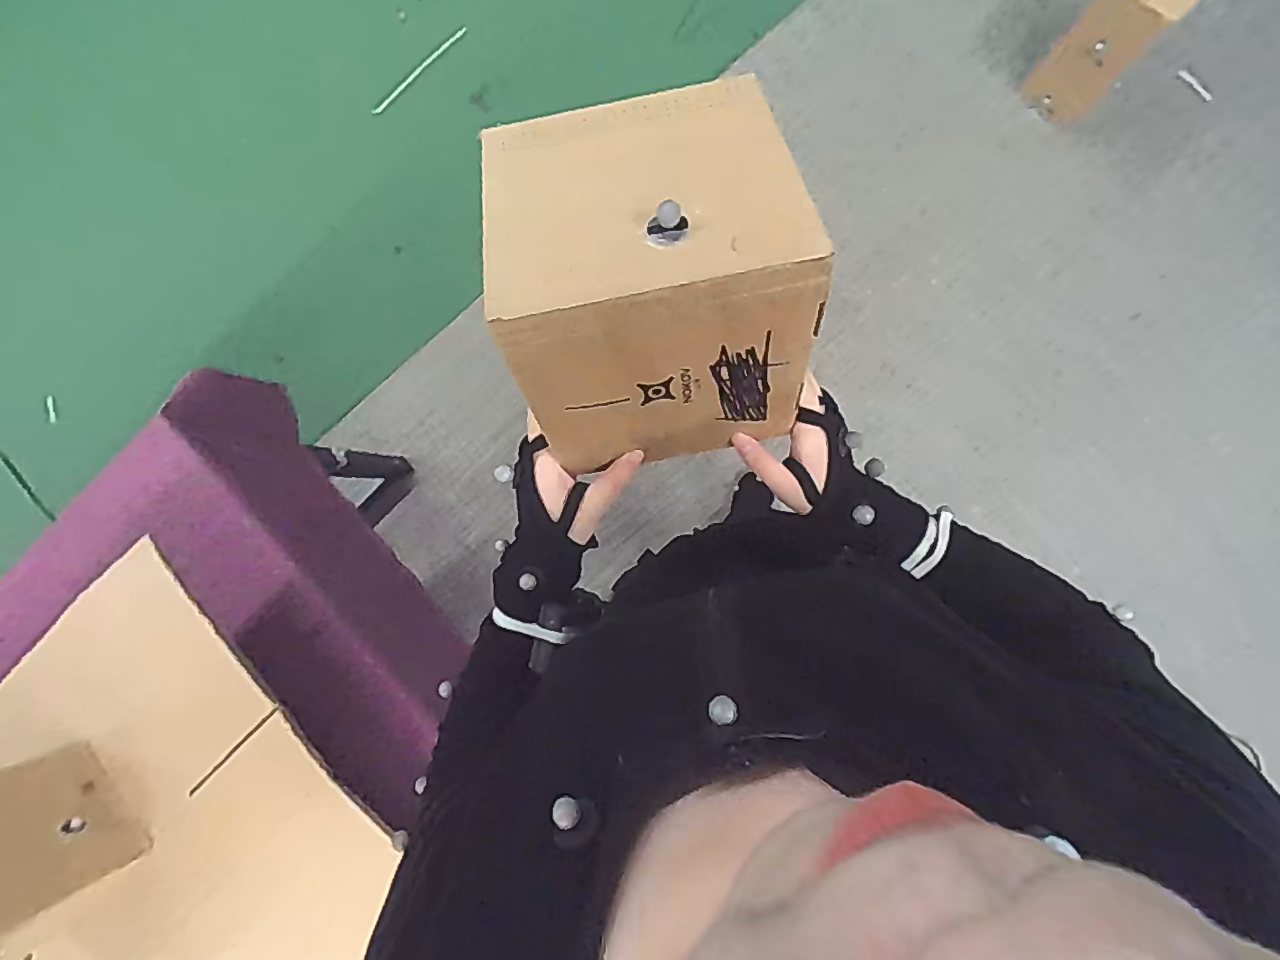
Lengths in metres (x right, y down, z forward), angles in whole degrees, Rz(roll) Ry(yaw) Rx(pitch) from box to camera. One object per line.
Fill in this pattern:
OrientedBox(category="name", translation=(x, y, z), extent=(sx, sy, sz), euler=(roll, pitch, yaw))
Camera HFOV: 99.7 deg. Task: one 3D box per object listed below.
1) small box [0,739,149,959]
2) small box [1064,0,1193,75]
OrientedBox(category="small box", translation=(-0.727, 0.437, 0.609), extent=(0.179, 0.176, 0.168), euler=(-43, 82, 3))
OrientedBox(category="small box", translation=(1.091, -1.050, 1.175), extent=(0.179, 0.176, 0.168), euler=(-45, 84, 5))
